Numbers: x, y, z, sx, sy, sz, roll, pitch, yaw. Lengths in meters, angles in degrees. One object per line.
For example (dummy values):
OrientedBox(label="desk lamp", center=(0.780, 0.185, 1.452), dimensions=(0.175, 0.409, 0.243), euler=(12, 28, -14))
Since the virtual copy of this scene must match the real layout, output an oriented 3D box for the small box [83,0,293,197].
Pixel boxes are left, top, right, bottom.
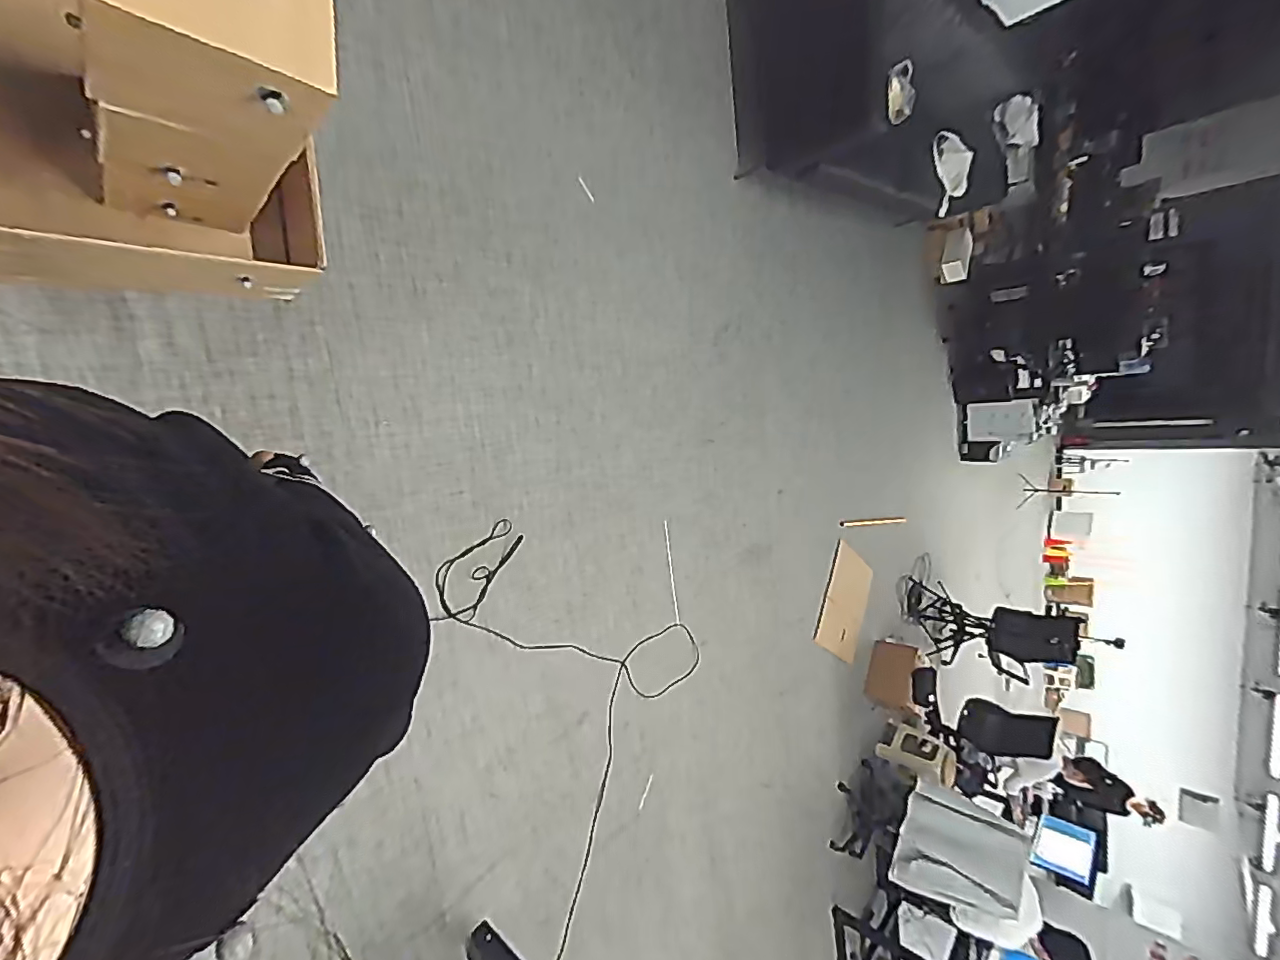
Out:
OrientedBox(label="small box", center=(-0.522, -0.463, 0.627), dimensions=(0.168, 0.176, 0.179), euler=(-7, 98, -44))
